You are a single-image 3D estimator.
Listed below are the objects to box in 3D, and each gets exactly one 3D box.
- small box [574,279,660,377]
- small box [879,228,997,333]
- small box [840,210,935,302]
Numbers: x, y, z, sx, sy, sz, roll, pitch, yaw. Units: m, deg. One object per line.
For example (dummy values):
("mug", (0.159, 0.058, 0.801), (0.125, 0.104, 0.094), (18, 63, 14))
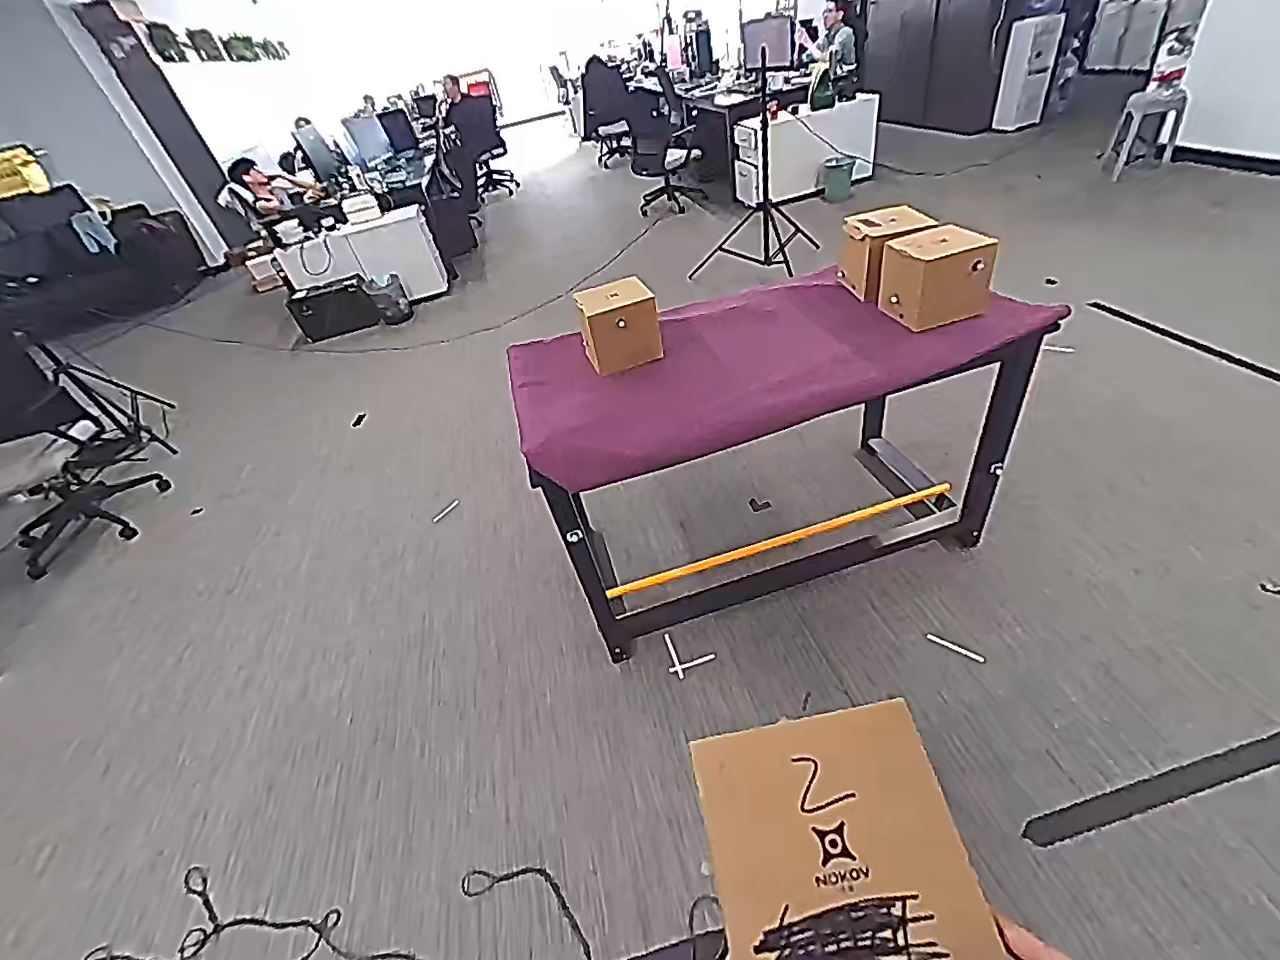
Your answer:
("small box", (-0.055, -0.392, 1.397), (0.179, 0.176, 0.168), (-19, 40, -7))
("small box", (0.693, -0.471, 1.282), (0.179, 0.176, 0.168), (-16, 38, -2))
("small box", (0.645, -0.592, 1.435), (0.179, 0.176, 0.168), (-12, 42, 0))
